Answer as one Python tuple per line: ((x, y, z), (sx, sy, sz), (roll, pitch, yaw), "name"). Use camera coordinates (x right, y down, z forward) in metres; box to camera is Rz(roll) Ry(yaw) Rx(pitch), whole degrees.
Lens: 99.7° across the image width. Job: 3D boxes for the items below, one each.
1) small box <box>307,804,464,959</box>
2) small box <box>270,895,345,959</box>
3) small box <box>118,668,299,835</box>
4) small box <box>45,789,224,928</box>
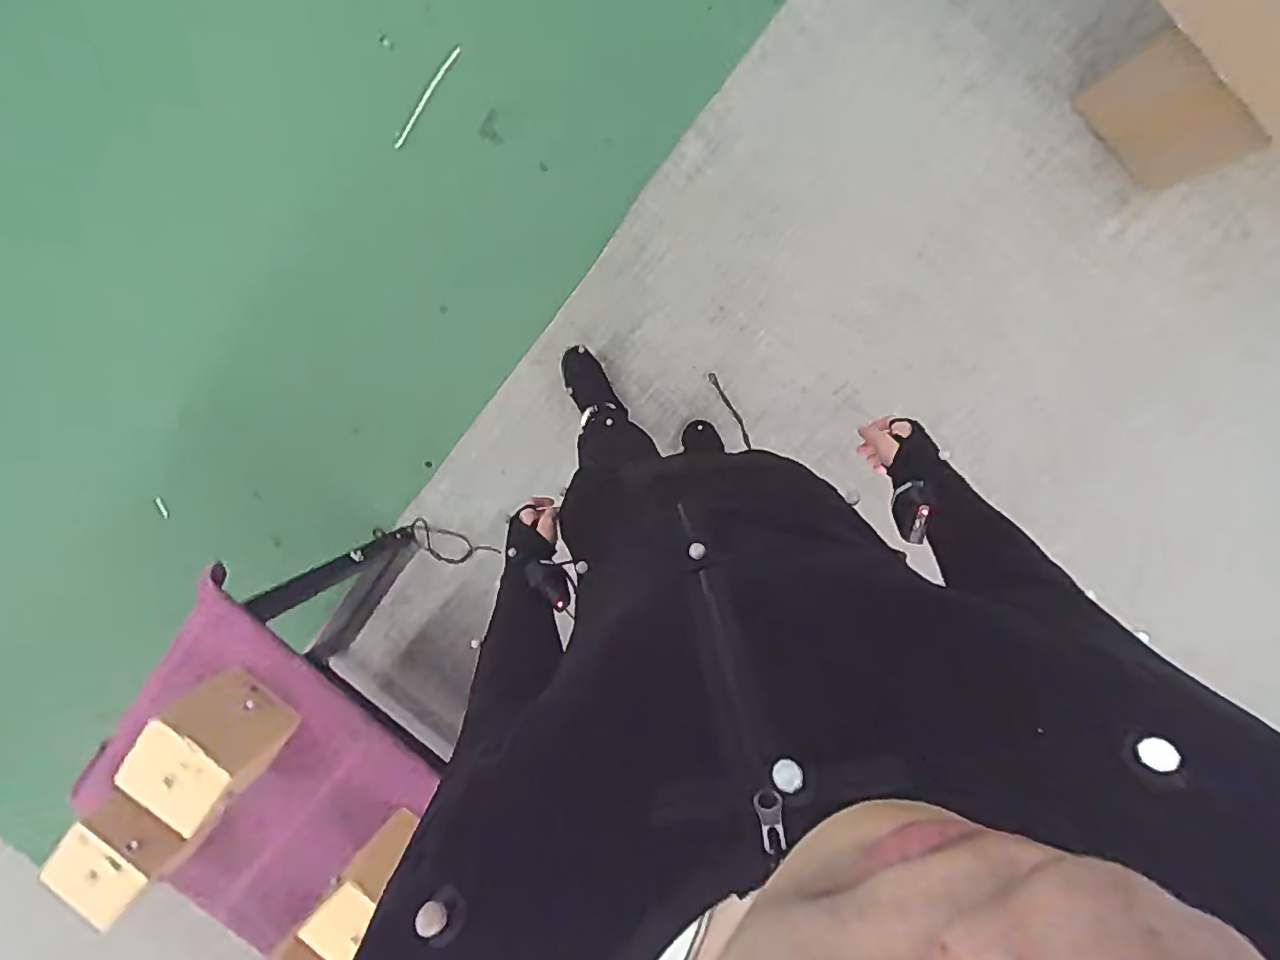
((-0.468, 0.771, 1.022), (0.168, 0.176, 0.179), (41, 103, -2), "small box")
((-0.660, 1.001, 1.091), (0.168, 0.176, 0.179), (43, 101, -4), "small box")
((-0.782, 0.492, 0.998), (0.168, 0.176, 0.179), (39, 103, -4), "small box")
((-0.984, 0.710, 1.068), (0.168, 0.176, 0.179), (41, 103, -3), "small box")
